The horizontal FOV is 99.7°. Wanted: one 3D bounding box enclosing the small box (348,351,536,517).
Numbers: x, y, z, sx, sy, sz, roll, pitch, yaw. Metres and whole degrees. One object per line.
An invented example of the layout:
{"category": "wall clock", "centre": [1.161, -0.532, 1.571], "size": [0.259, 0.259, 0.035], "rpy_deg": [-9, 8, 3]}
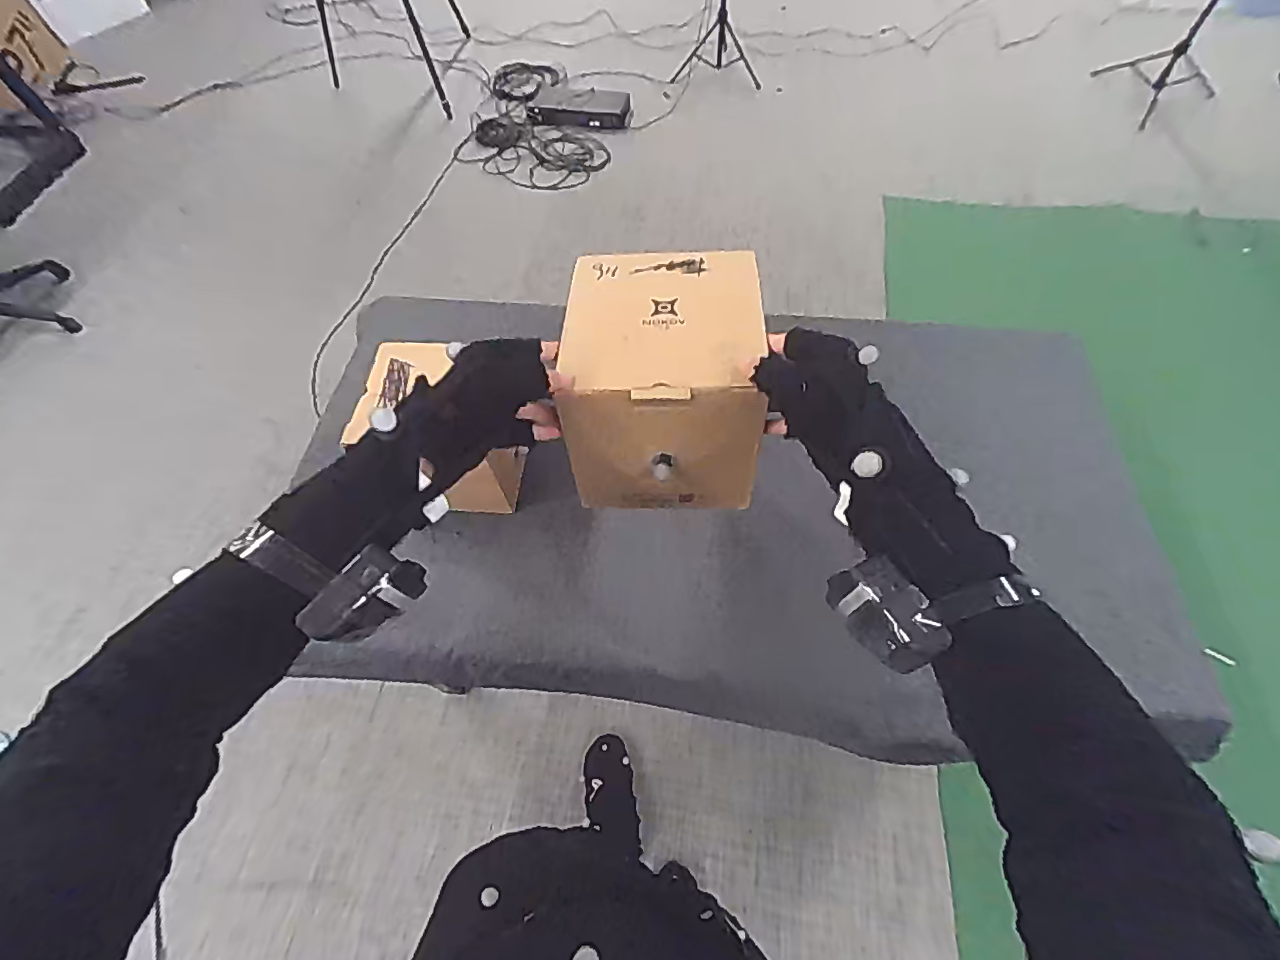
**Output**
{"category": "small box", "centre": [-0.258, -0.058, 0.751], "size": [0.179, 0.176, 0.168], "rpy_deg": [3, 60, 3]}

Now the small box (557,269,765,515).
{"category": "small box", "centre": [0.026, -0.078, 0.525], "size": [0.168, 0.176, 0.179], "rpy_deg": [0, 55, 4]}
